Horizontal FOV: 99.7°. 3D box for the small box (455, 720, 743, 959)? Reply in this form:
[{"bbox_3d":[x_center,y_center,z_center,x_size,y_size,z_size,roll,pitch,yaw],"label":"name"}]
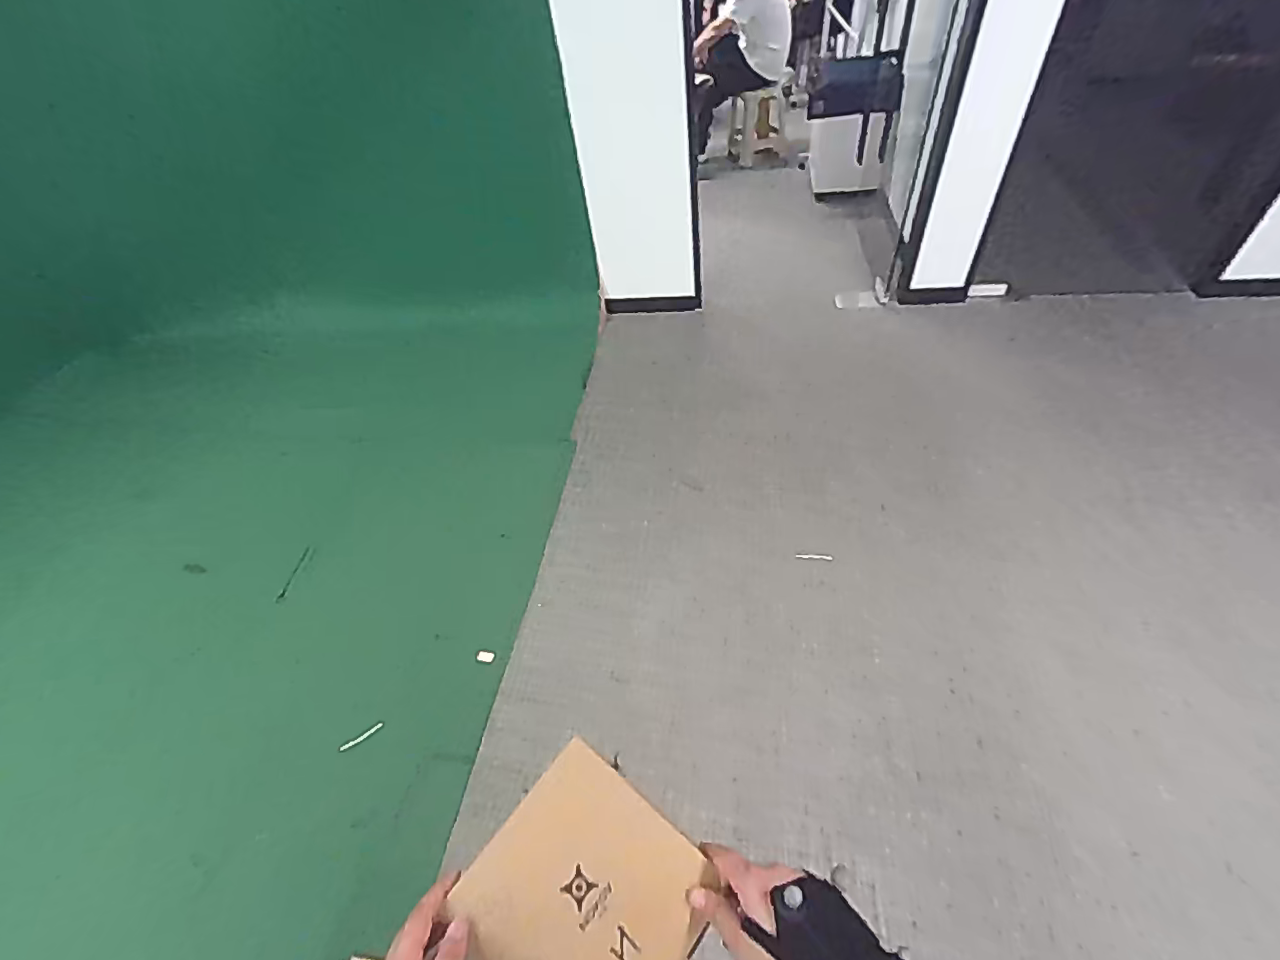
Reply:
[{"bbox_3d":[-0.034,0.357,0.505,0.179,0.176,0.168,37,69,16],"label":"small box"}]
